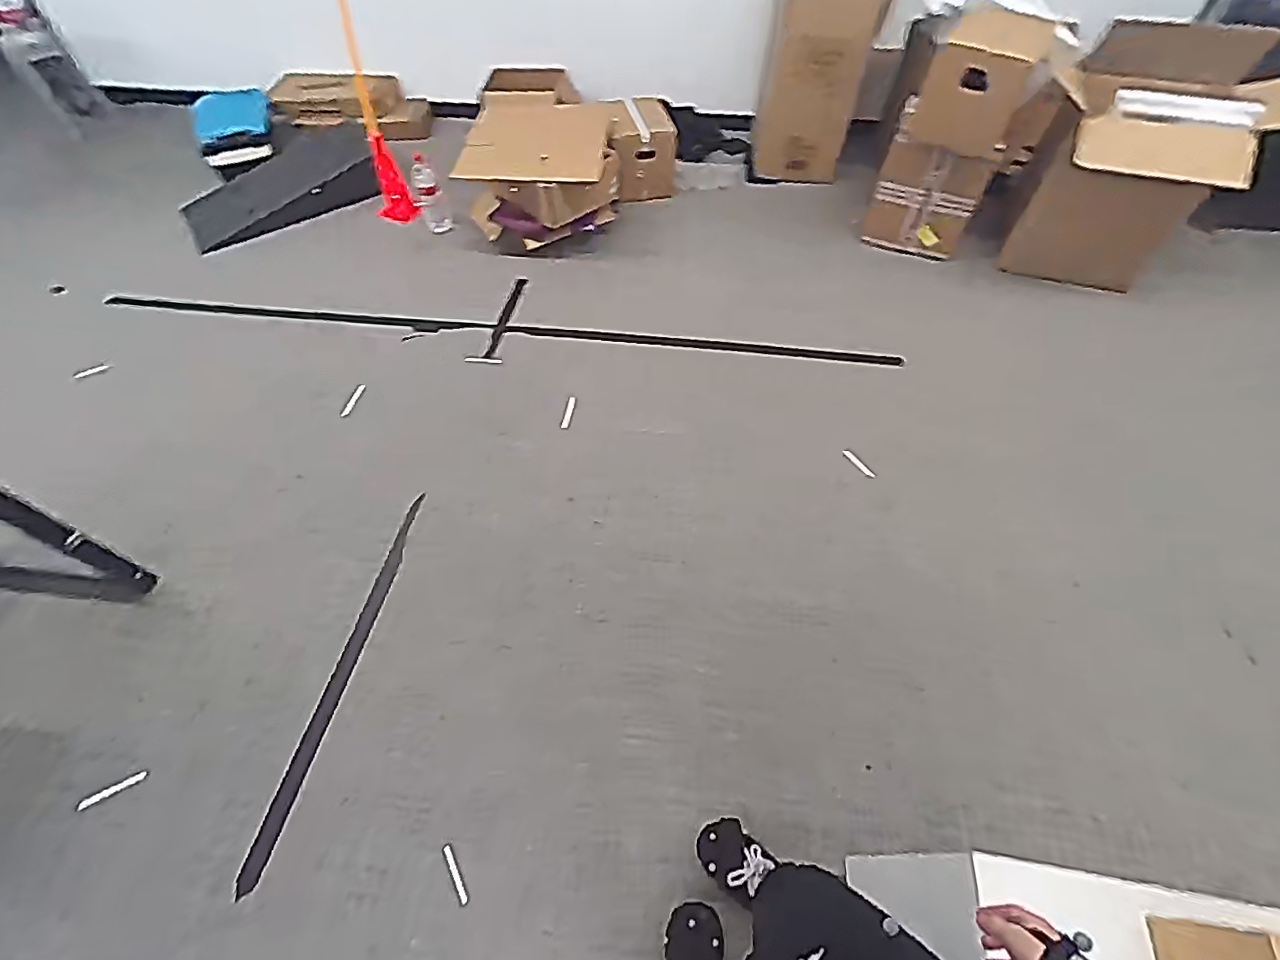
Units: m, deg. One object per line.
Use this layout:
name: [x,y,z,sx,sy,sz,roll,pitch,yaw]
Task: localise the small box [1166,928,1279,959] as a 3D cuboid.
small box: [0.688,0.575,0.539,0.179,0.176,0.168,11,56,8]
